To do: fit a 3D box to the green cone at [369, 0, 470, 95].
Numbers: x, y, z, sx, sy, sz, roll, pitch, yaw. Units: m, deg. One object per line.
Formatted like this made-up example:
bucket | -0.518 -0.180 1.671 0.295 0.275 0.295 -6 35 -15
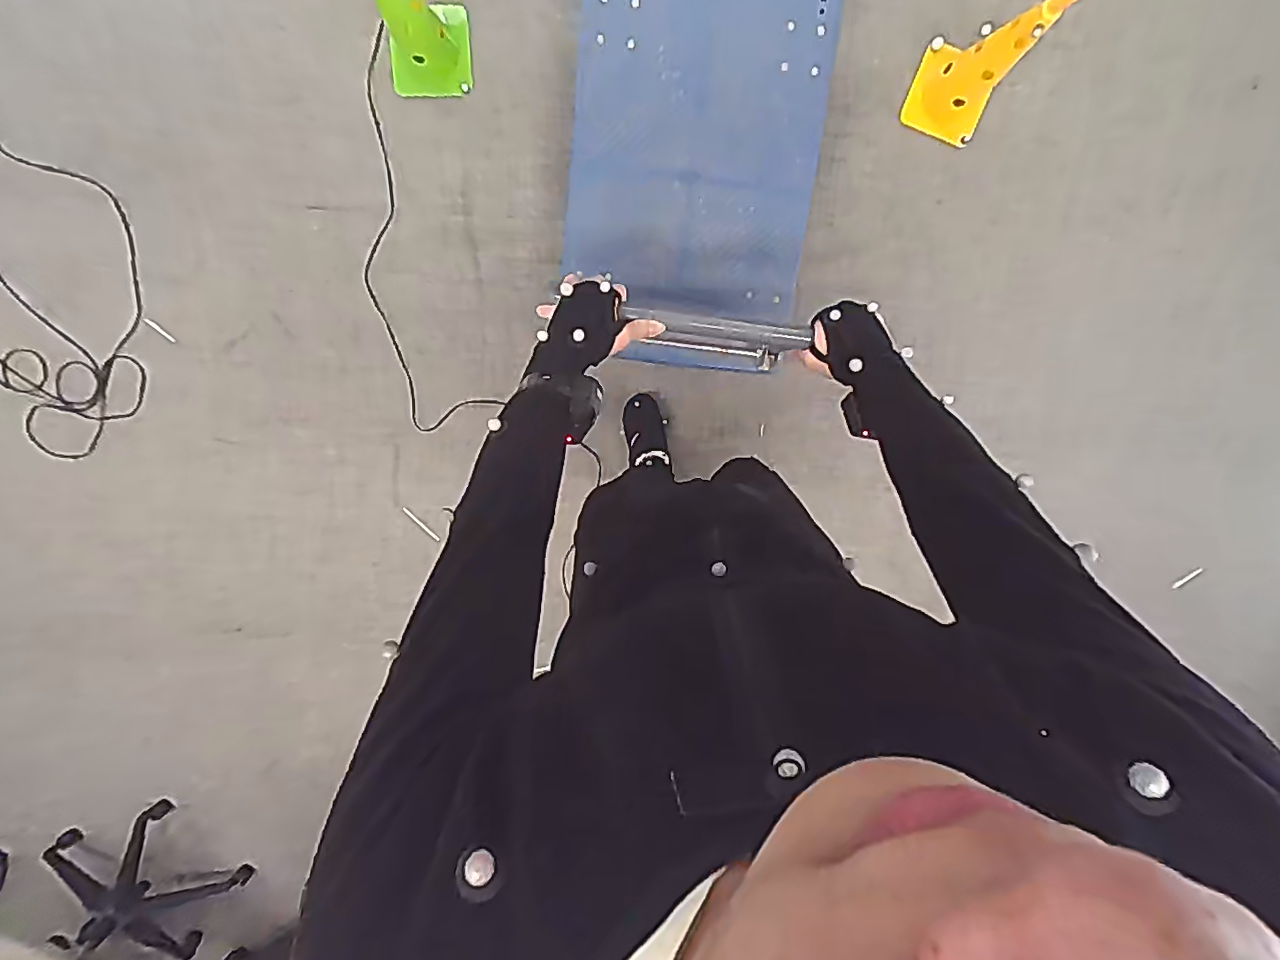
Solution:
green cone | -0.532 -1.037 1.176 0.202 0.368 0.200 -1 102 1
